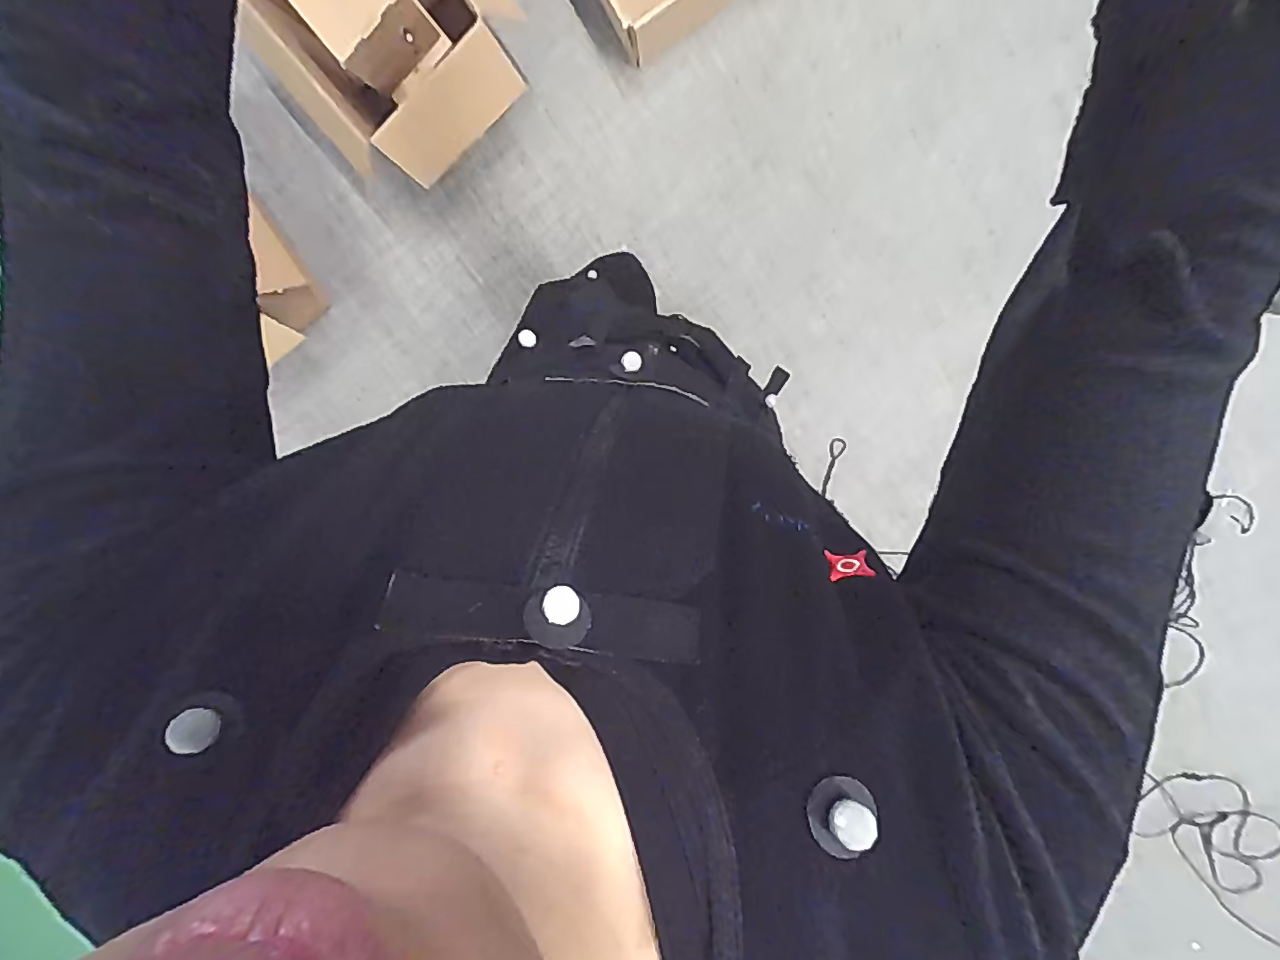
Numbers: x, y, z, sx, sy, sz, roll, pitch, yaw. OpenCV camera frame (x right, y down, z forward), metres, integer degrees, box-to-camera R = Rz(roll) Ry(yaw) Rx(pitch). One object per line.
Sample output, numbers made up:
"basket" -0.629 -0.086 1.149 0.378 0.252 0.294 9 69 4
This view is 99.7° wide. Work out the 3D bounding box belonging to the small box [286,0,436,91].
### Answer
"small box" -0.515 -0.864 0.997 0.168 0.176 0.179 -38 101 12
